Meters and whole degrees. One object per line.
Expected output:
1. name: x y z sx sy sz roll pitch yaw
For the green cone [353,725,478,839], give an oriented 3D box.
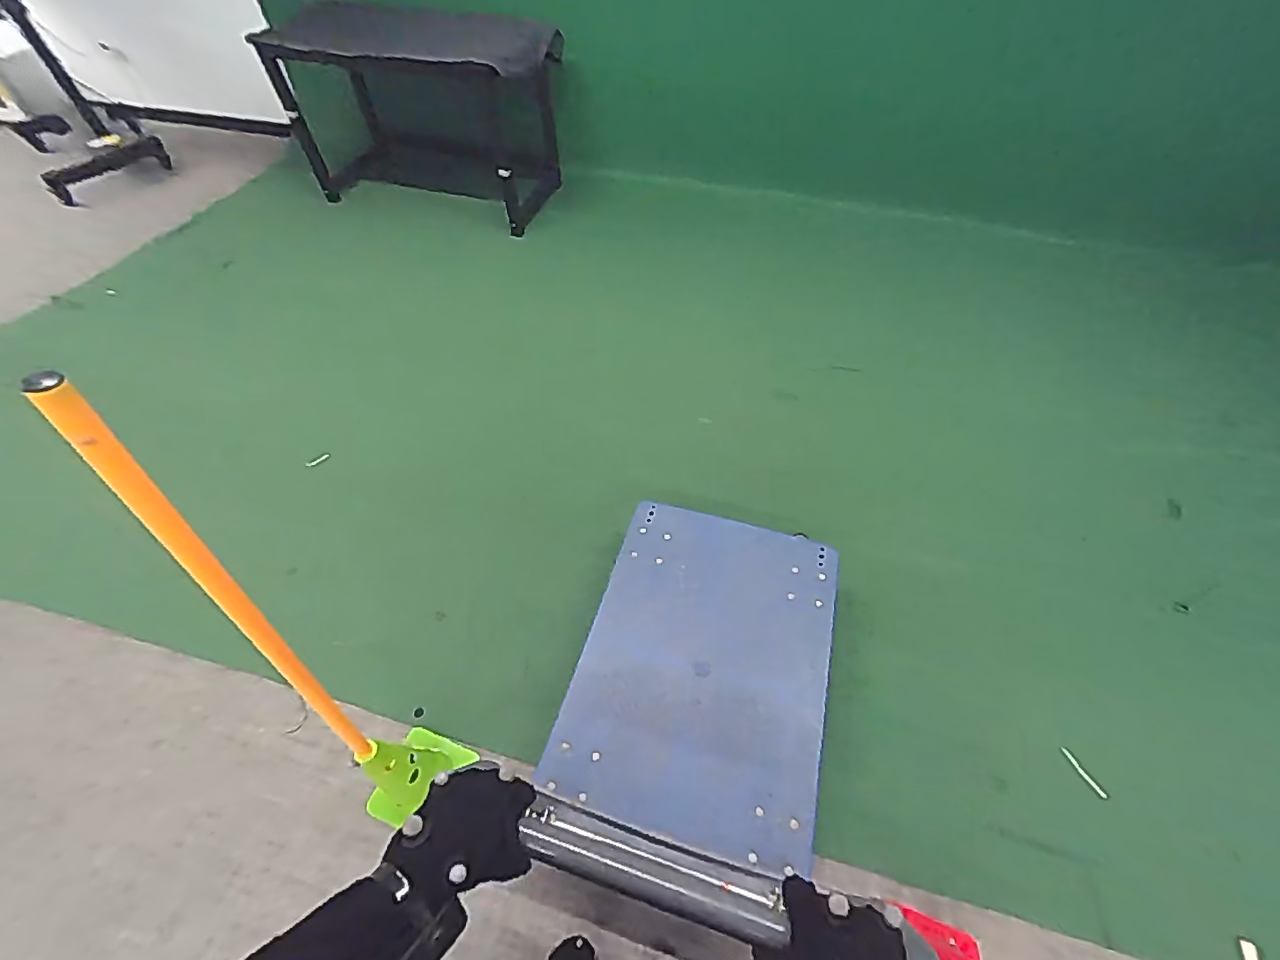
1. green cone: -0.515 0.608 1.158 0.202 0.368 0.200 16 53 13
